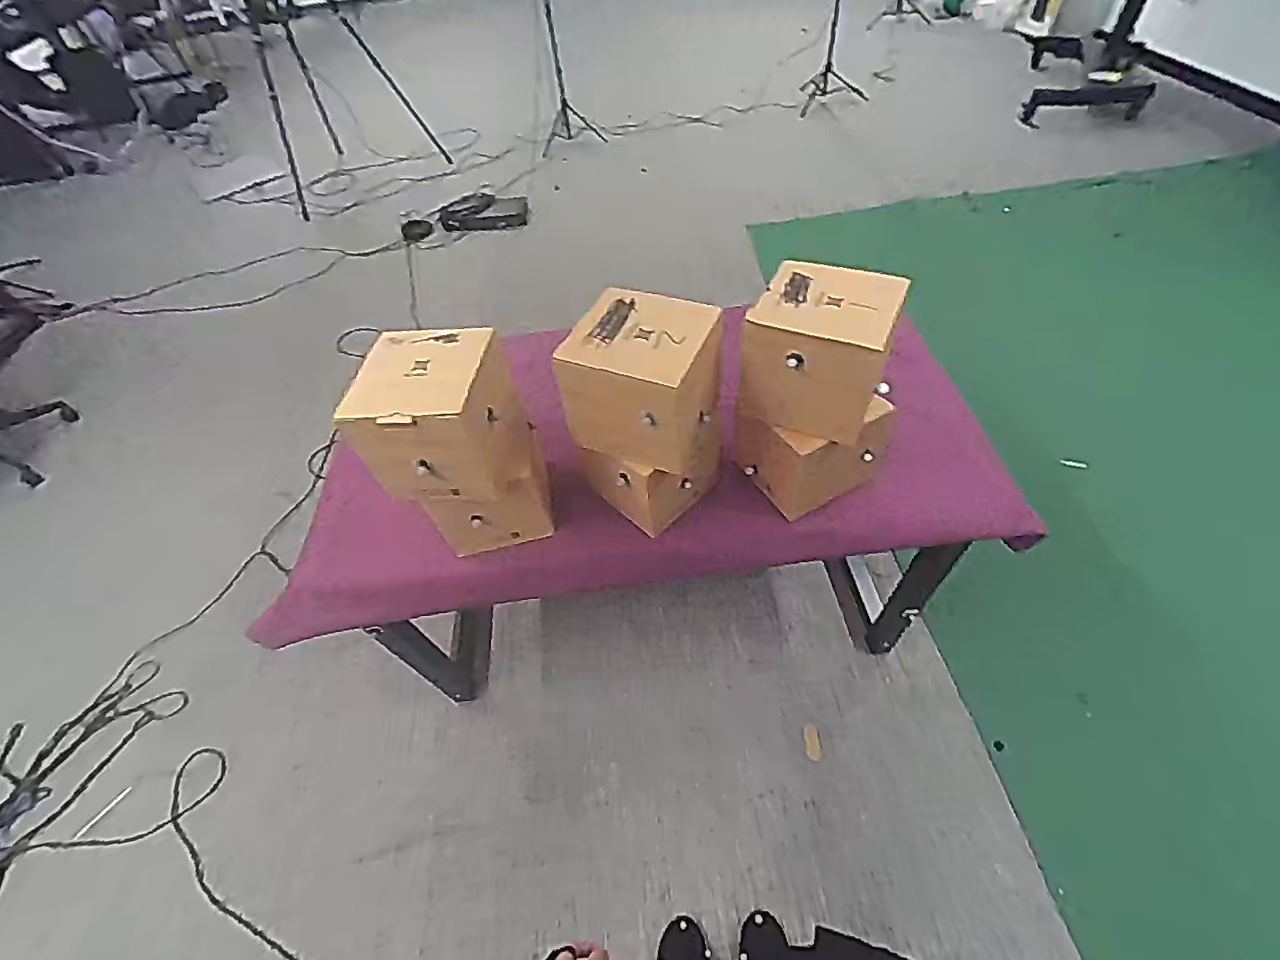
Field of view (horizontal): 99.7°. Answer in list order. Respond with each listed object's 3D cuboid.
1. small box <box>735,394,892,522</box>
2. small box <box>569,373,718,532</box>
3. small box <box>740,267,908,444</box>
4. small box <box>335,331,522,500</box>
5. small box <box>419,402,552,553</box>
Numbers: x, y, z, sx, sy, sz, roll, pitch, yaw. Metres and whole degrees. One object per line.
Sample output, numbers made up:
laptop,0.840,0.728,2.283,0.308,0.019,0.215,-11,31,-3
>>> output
small box,0.271,-0.064,0.890,0.179,0.176,0.168,-26,52,-13
small box,0.012,-0.039,0.898,0.168,0.176,0.179,-39,57,-23
small box,0.252,-0.176,0.772,0.179,0.176,0.168,20,55,22
small box,-0.277,-0.085,0.759,0.168,0.176,0.179,0,52,6
small box,-0.249,0.004,0.895,0.168,0.176,0.179,-13,51,-4
